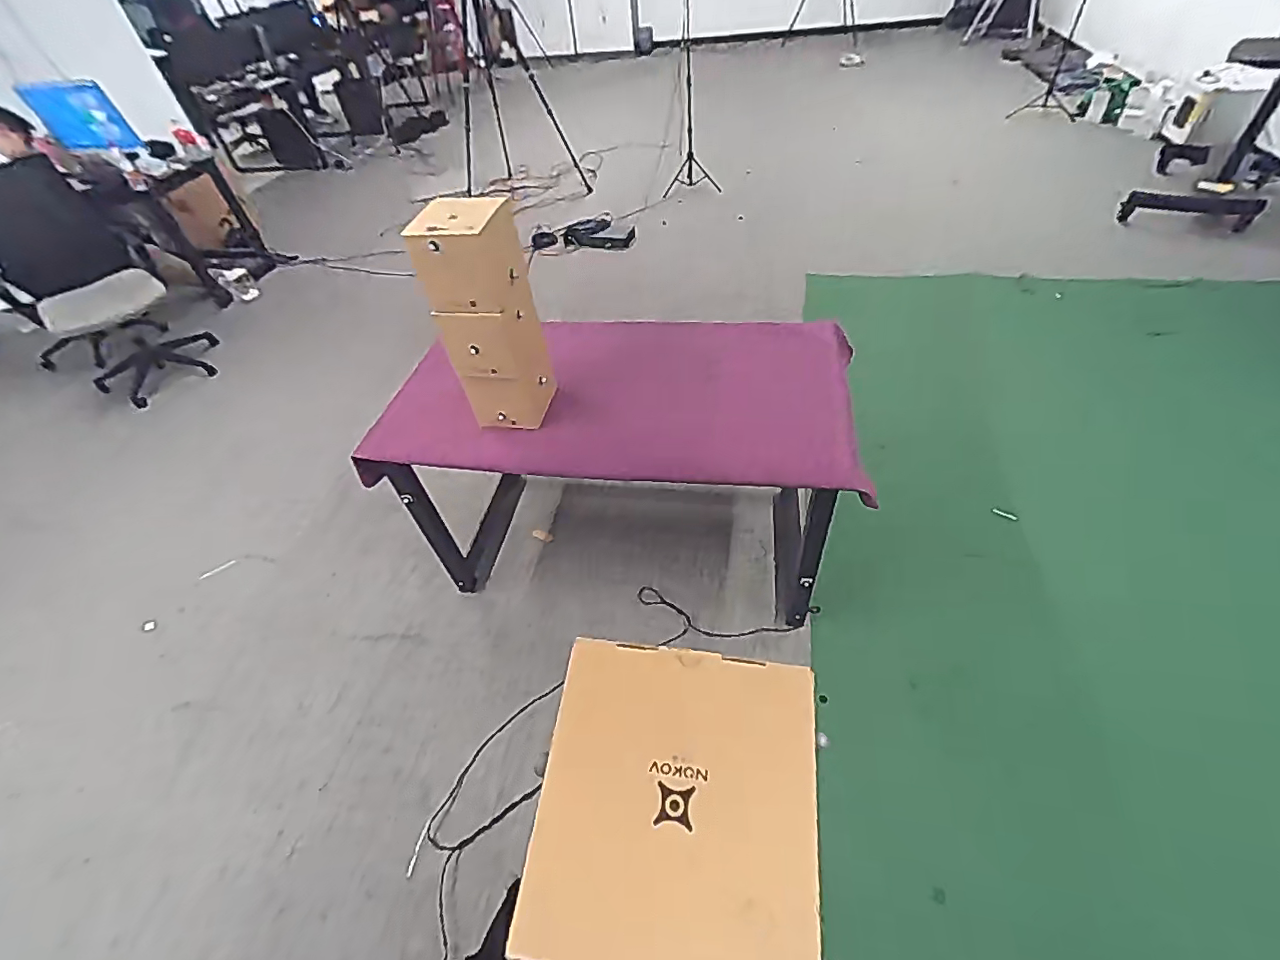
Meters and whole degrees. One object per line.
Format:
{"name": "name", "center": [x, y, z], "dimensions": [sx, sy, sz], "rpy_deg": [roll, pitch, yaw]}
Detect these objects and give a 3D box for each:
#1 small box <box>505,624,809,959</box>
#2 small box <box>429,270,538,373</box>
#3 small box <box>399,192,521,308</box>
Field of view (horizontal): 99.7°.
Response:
{"name": "small box", "center": [0.024, 0.224, 0.391], "dimensions": [0.168, 0.176, 0.179], "rpy_deg": [5, 56, 8]}
{"name": "small box", "center": [-0.348, -0.365, 1.245], "dimensions": [0.168, 0.176, 0.179], "rpy_deg": [5, 49, 11]}
{"name": "small box", "center": [-0.361, -0.480, 1.129], "dimensions": [0.168, 0.176, 0.179], "rpy_deg": [3, 49, 10]}
